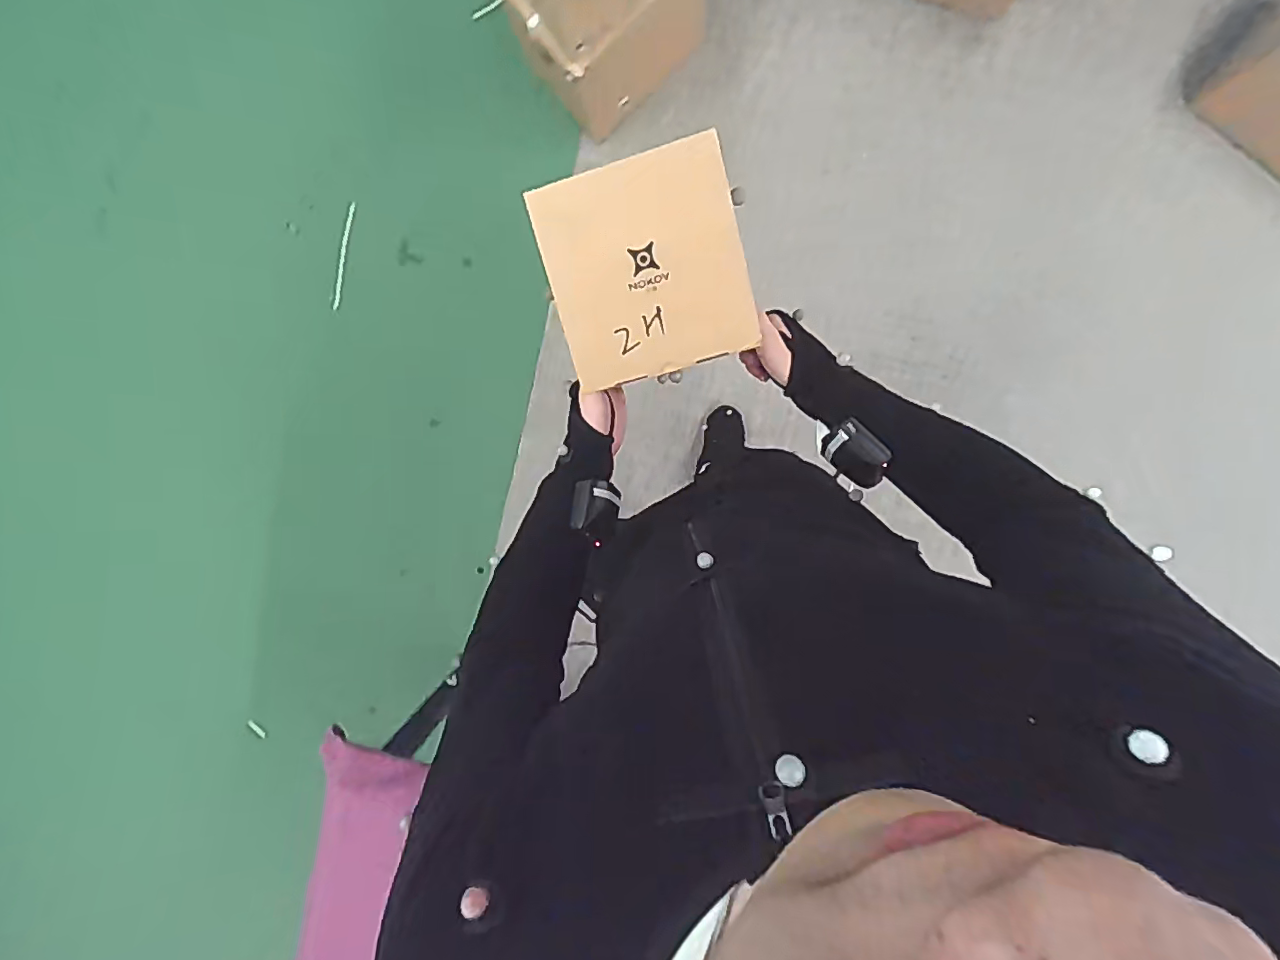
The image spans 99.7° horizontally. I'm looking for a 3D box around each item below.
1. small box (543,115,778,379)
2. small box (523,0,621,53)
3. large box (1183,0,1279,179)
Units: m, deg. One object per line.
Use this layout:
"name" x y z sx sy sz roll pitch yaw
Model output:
"small box" 0.024 -0.205 0.525 0.168 0.176 0.179 -13 103 8
"small box" -0.156 -1.046 1.126 0.168 0.176 0.179 -37 92 7
"large box" 1.628 -0.948 1.224 0.408 0.320 0.320 37 98 1
